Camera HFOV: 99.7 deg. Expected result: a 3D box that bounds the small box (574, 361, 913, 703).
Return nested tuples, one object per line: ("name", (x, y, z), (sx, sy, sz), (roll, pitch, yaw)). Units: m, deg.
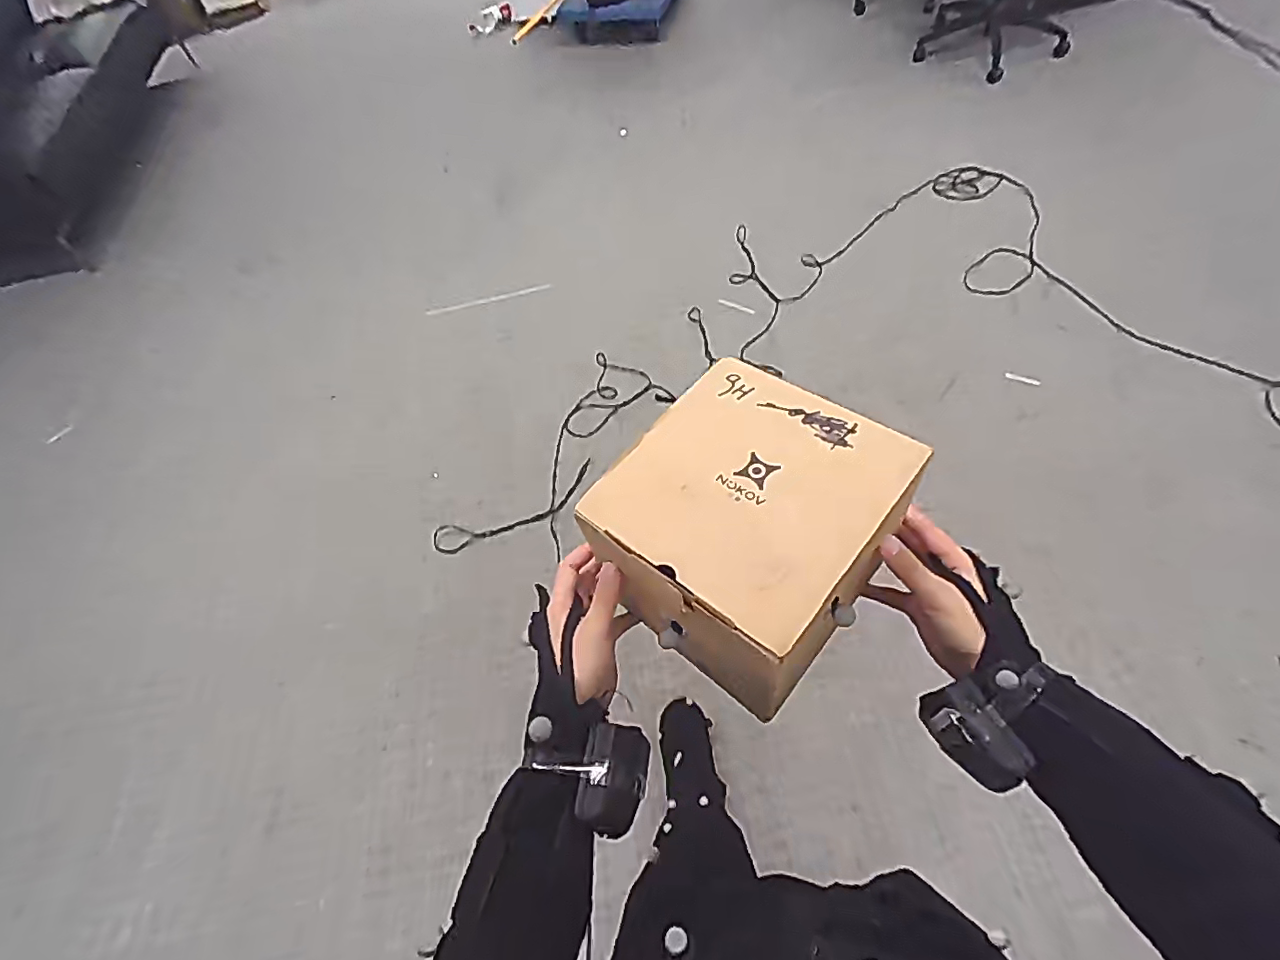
("small box", (0.081, 0.046, 0.430), (0.168, 0.176, 0.179), (33, 69, 28))
